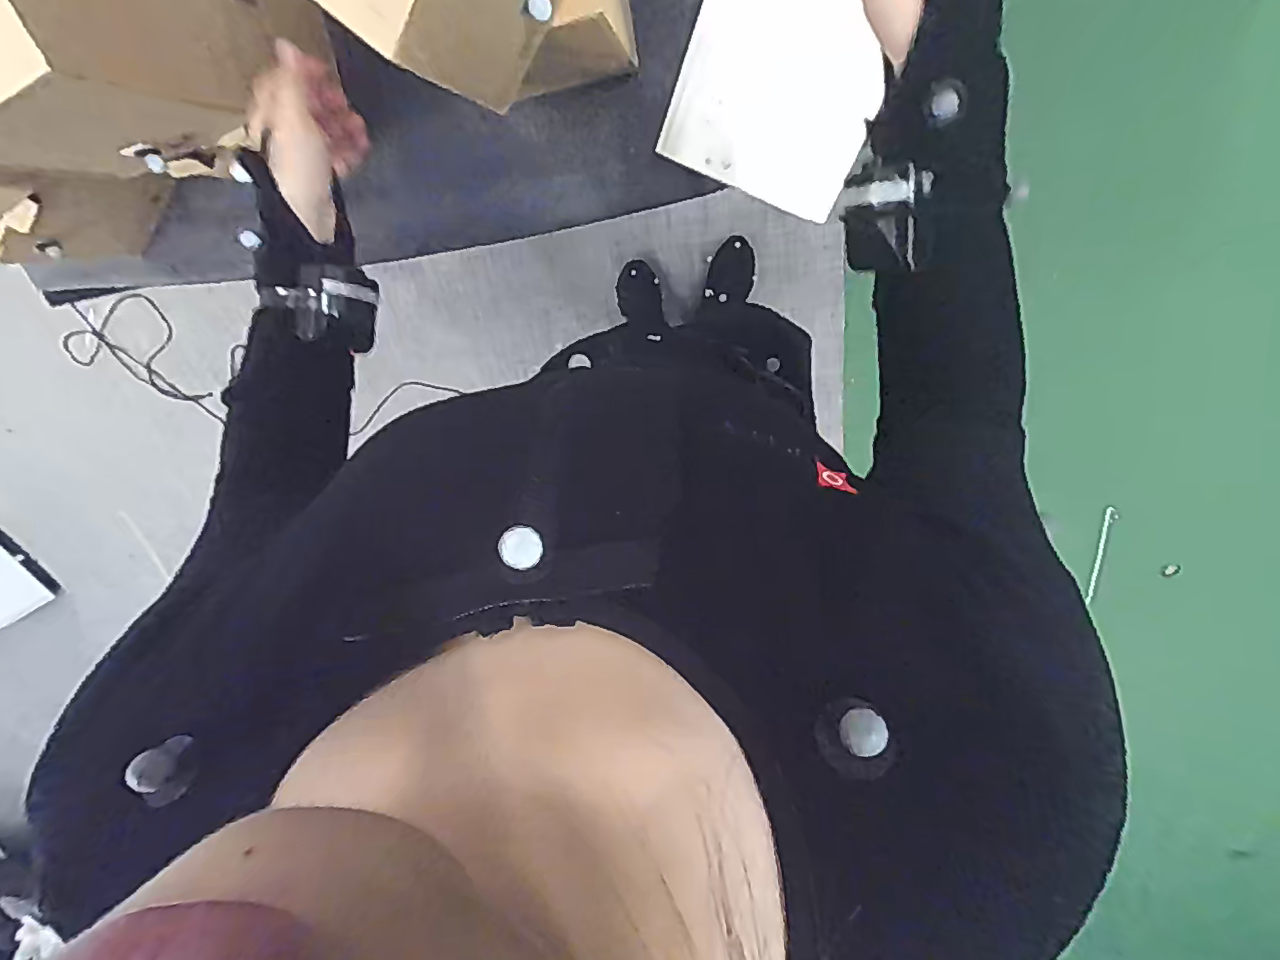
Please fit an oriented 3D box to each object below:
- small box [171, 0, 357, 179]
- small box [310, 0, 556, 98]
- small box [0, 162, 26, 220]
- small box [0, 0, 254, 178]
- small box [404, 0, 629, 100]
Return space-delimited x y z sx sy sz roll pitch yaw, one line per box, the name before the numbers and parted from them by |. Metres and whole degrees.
small box | -0.432 -0.421 0.551 0.168 0.176 0.179 -1 115 12
small box | -0.151 -0.380 0.335 0.179 0.176 0.168 37 117 -8
small box | -0.732 -0.306 0.479 0.179 0.176 0.168 -18 111 19
small box | -0.455 -0.351 0.406 0.168 0.176 0.179 -12 113 17
small box | -0.113 -0.460 0.473 0.179 0.176 0.168 -5 114 14
